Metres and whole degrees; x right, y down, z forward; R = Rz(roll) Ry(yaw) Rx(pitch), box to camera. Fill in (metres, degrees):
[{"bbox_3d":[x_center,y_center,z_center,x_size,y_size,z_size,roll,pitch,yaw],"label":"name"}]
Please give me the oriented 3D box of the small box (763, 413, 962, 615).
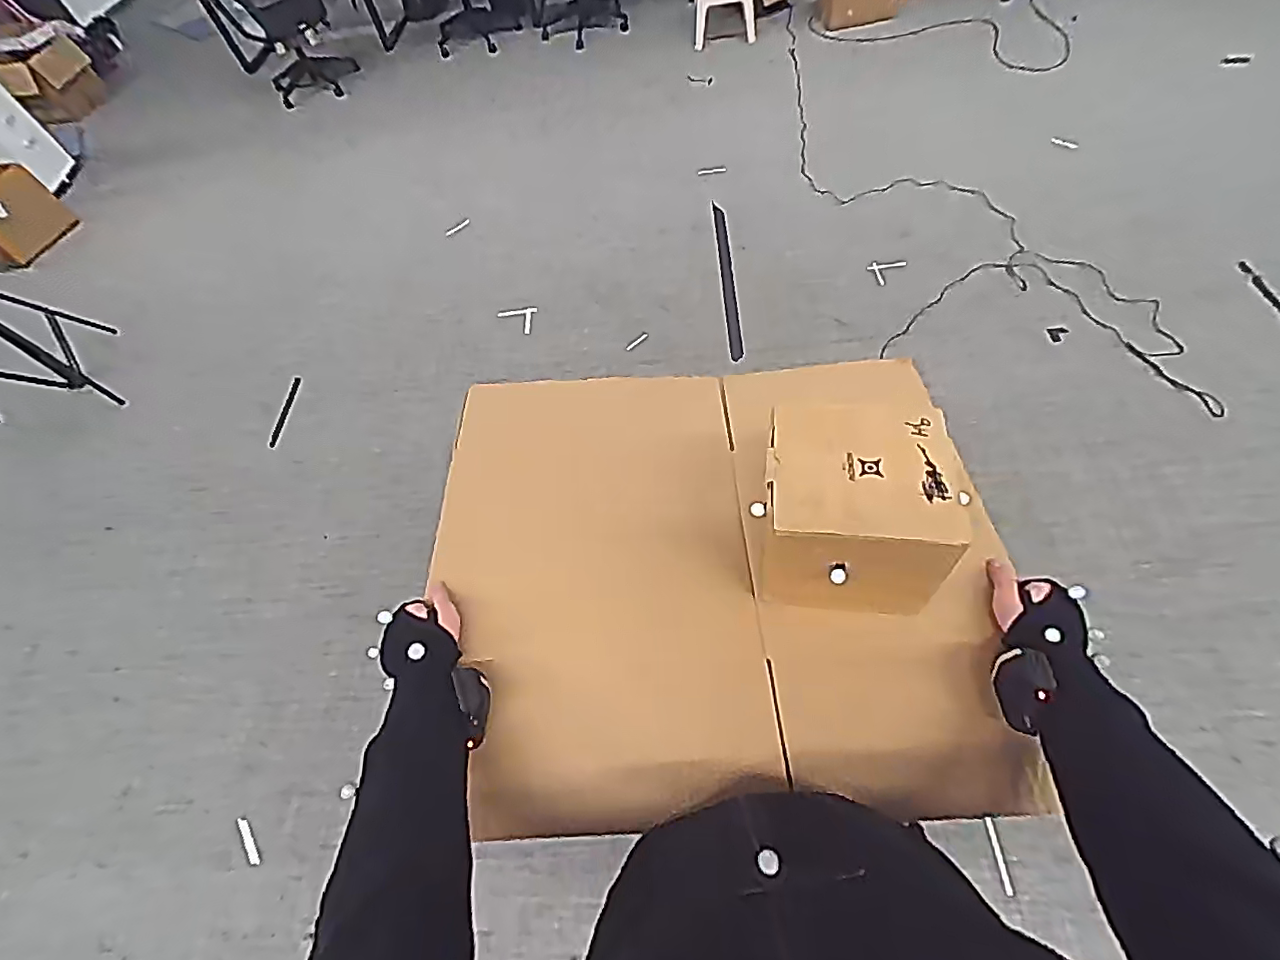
[{"bbox_3d":[0.232,0.042,0.614,0.179,0.176,0.168,2,55,12],"label":"small box"}]
